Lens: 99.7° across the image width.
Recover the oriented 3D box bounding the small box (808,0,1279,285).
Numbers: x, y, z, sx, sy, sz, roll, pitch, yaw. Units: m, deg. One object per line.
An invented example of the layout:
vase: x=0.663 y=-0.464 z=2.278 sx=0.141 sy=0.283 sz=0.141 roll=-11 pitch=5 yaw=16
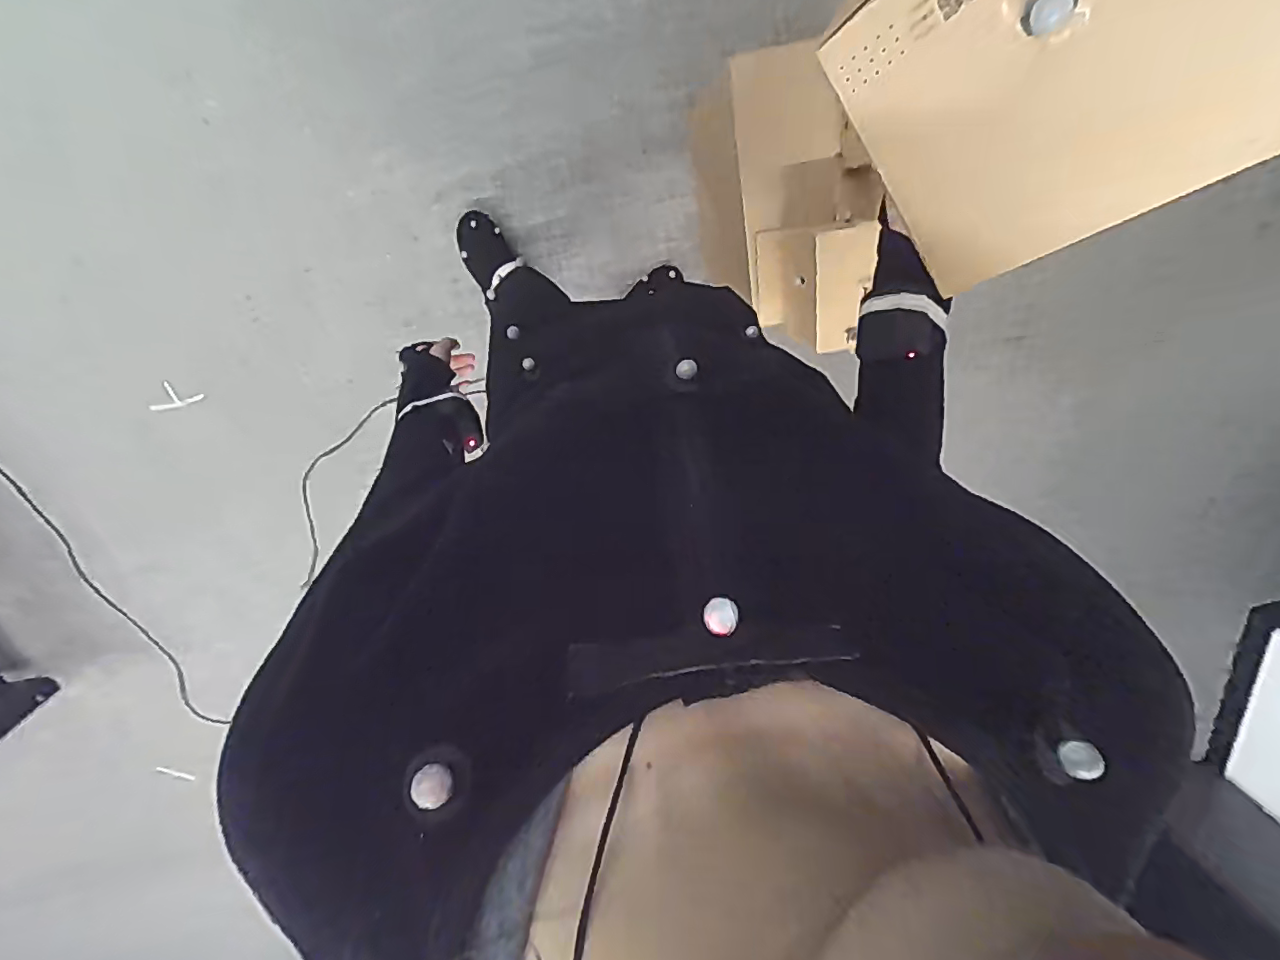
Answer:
small box: x=0.218 y=-0.257 z=0.303 sx=0.168 sy=0.179 sz=0.176 roll=-19 pitch=126 yaw=45

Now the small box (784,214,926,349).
small box: x=0.333 y=-0.320 z=0.864 sx=0.168 sy=0.176 sz=0.179 roll=-8 pitch=114 yaw=2
